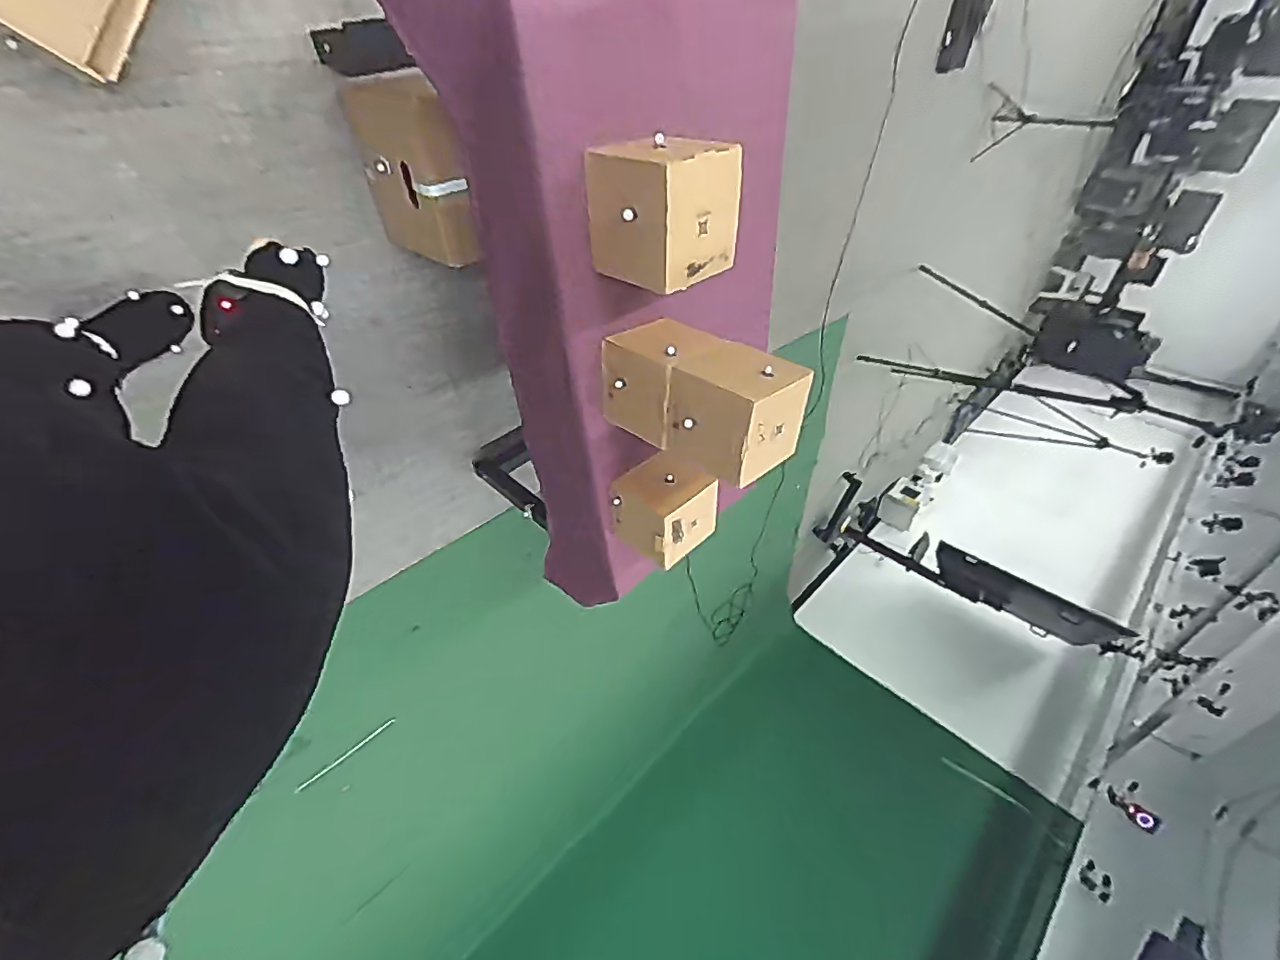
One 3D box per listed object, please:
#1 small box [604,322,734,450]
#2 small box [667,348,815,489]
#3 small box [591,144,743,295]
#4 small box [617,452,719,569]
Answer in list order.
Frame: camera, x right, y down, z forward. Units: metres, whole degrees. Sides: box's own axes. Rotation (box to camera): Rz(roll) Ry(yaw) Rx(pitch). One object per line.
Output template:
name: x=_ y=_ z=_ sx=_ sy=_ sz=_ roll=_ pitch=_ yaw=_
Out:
small box: x=0.052 y=-0.188 z=1.035 sx=0.179 sy=0.176 sz=0.168 roll=-29 pitch=136 yaw=-34
small box: x=0.171 y=-0.117 z=0.946 sx=0.179 sy=0.176 sz=0.168 roll=-28 pitch=135 yaw=-35
small box: x=0.038 y=-0.411 z=0.839 sx=0.168 sy=0.176 sz=0.179 roll=-32 pitch=138 yaw=-31
small box: x=0.058 y=0.063 z=1.235 sx=0.179 sy=0.176 sz=0.168 roll=-34 pitch=139 yaw=-32
